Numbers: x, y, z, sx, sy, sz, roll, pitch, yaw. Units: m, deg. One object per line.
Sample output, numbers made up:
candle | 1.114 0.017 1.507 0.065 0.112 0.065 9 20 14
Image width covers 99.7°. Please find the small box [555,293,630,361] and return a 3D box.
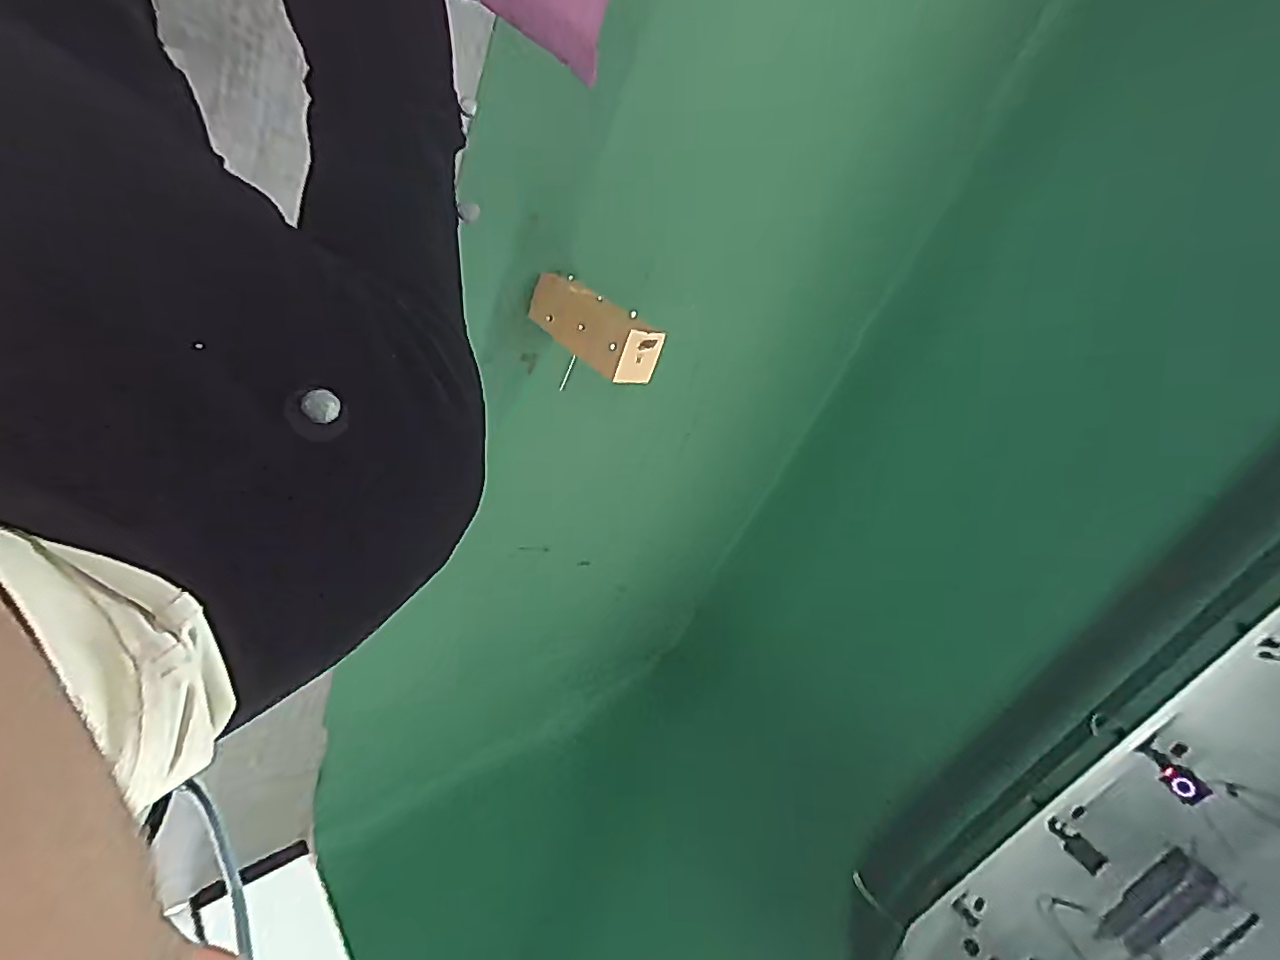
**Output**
small box | -0.168 -0.513 1.839 0.168 0.176 0.179 -7 127 -47

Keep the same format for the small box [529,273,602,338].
small box | -0.272 -0.608 1.920 0.168 0.176 0.179 -4 126 -49

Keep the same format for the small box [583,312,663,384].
small box | -0.059 -0.427 1.751 0.168 0.176 0.179 -8 130 -46
